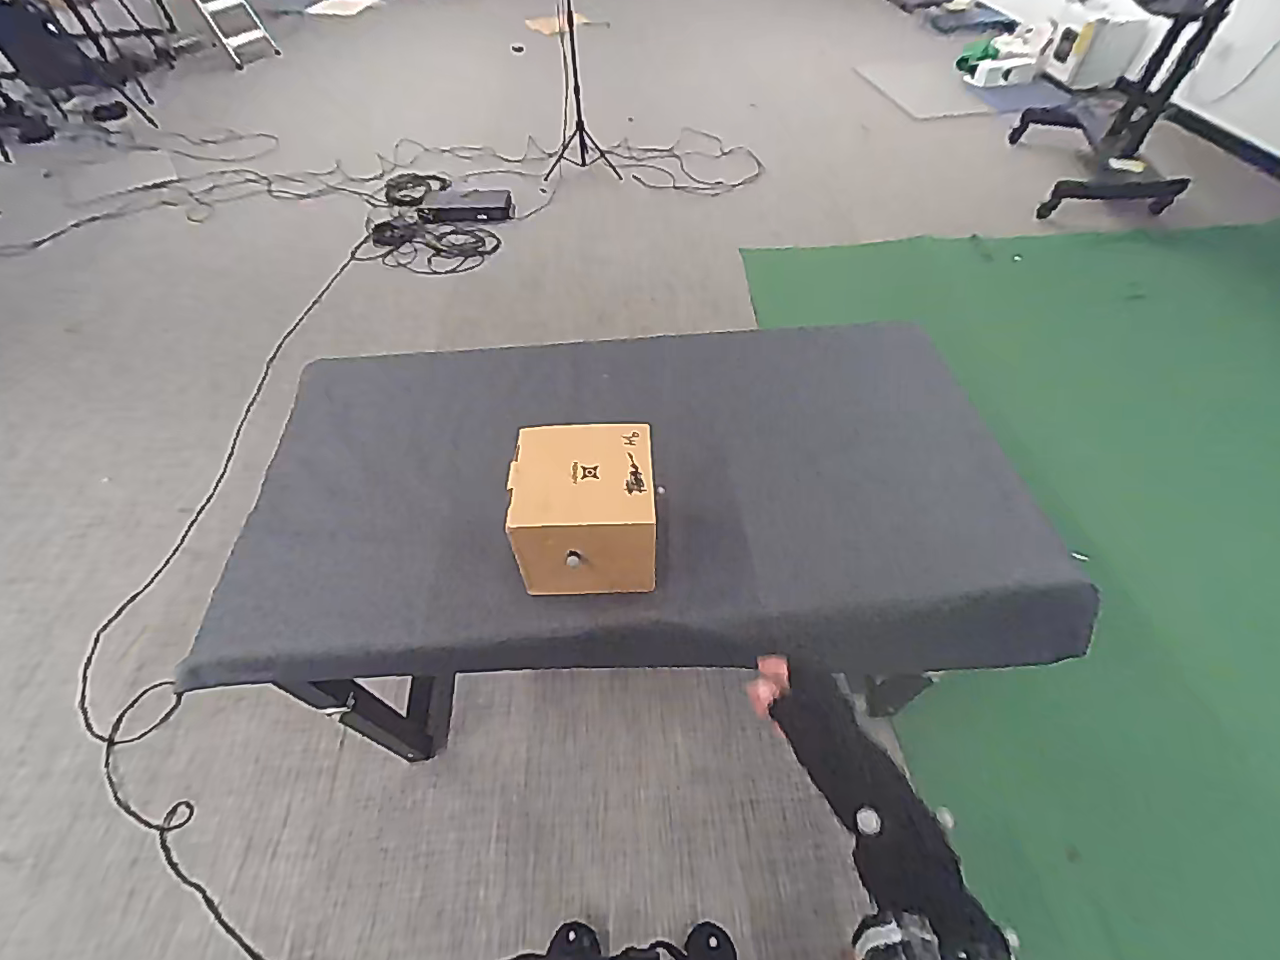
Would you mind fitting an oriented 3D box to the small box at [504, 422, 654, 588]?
[{"bbox_3d":[-0.071,0.038,0.739,0.179,0.176,0.168,-1,51,0],"label":"small box"}]

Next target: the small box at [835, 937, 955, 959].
[{"bbox_3d":[0.475,0.931,0.964,0.179,0.176,0.168,-5,51,-1],"label":"small box"}]

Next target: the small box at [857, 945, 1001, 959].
[{"bbox_3d":[0.462,0.831,0.834,0.179,0.176,0.168,-2,51,0],"label":"small box"}]
